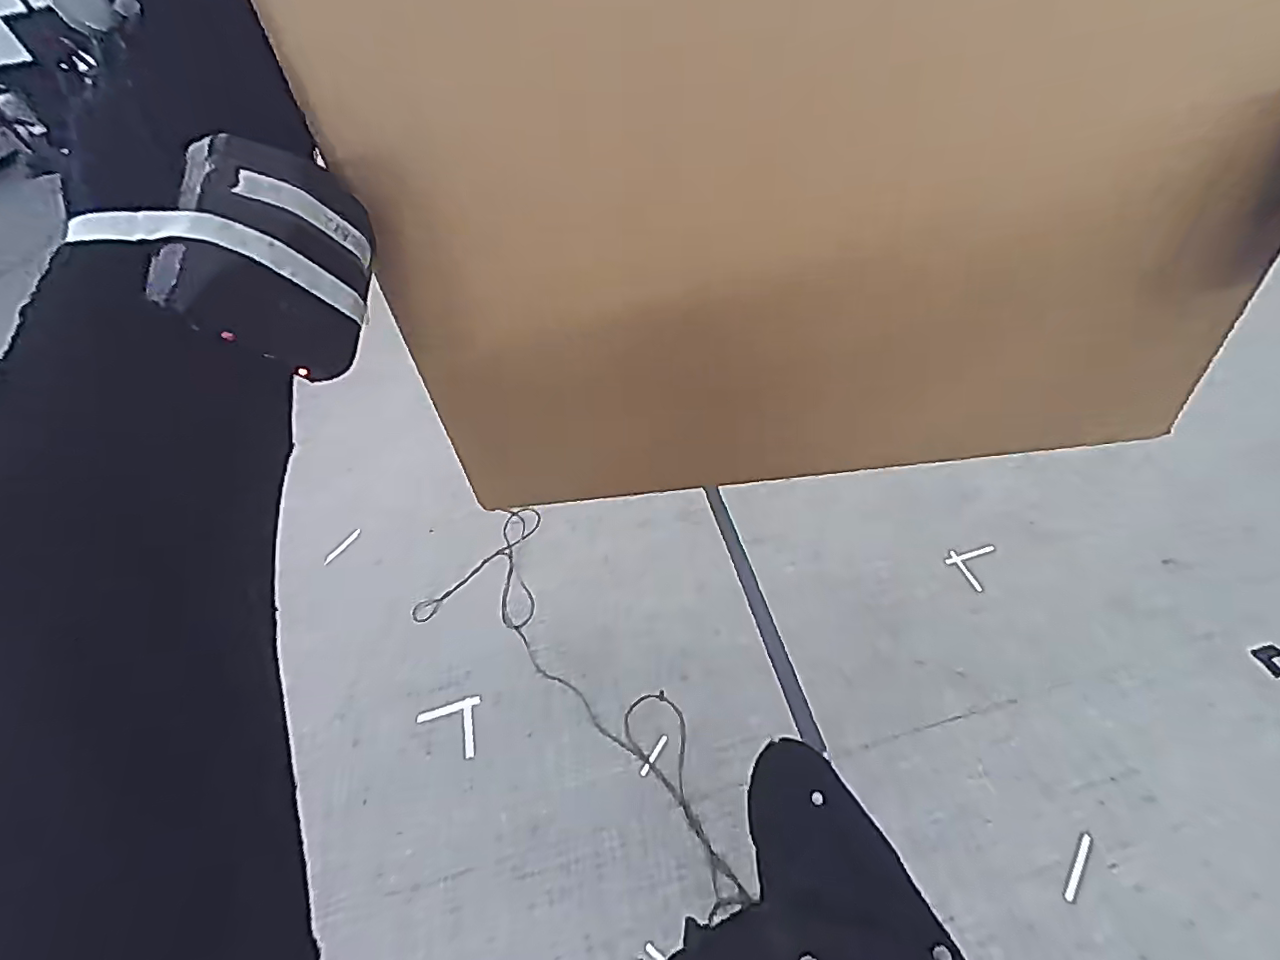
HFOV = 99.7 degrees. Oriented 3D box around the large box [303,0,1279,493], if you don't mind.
[{"bbox_3d":[0.076,-0.220,0.354,0.408,0.320,0.320,-6,41,3],"label":"large box"}]
